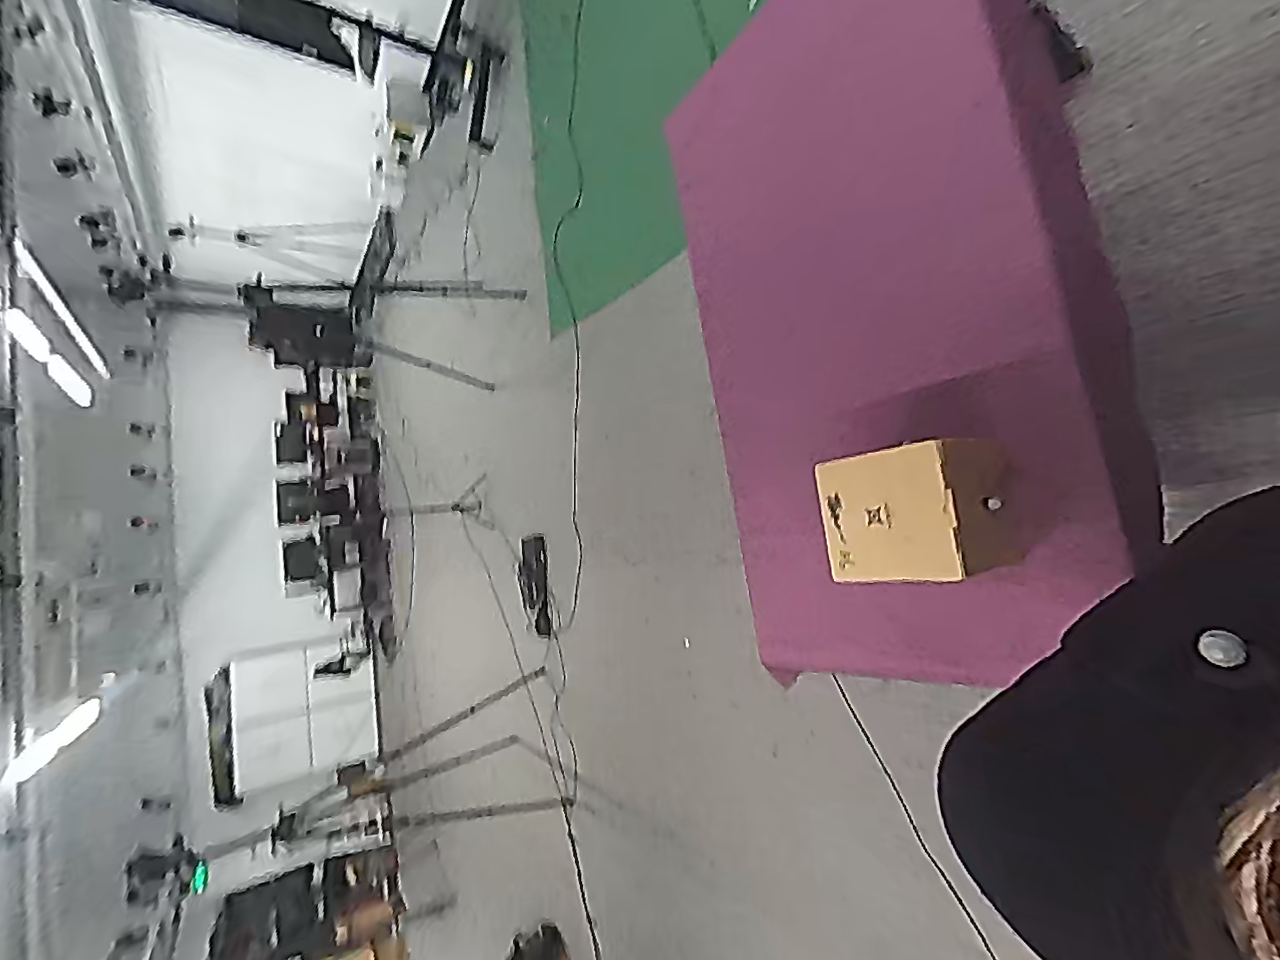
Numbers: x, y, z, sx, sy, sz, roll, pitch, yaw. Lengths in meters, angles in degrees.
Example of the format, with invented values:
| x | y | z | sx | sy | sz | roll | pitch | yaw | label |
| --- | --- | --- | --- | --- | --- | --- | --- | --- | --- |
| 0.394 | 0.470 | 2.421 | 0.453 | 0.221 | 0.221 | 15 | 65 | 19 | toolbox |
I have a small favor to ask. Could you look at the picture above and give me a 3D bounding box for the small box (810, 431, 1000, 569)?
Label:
| x | y | z | sx | sy | sz | roll | pitch | yaw | label |
| --- | --- | --- | --- | --- | --- | --- | --- | --- | --- |
| 0.367 | 0.028 | 0.744 | 0.179 | 0.176 | 0.168 | -14 | 82 | 52 | small box |
